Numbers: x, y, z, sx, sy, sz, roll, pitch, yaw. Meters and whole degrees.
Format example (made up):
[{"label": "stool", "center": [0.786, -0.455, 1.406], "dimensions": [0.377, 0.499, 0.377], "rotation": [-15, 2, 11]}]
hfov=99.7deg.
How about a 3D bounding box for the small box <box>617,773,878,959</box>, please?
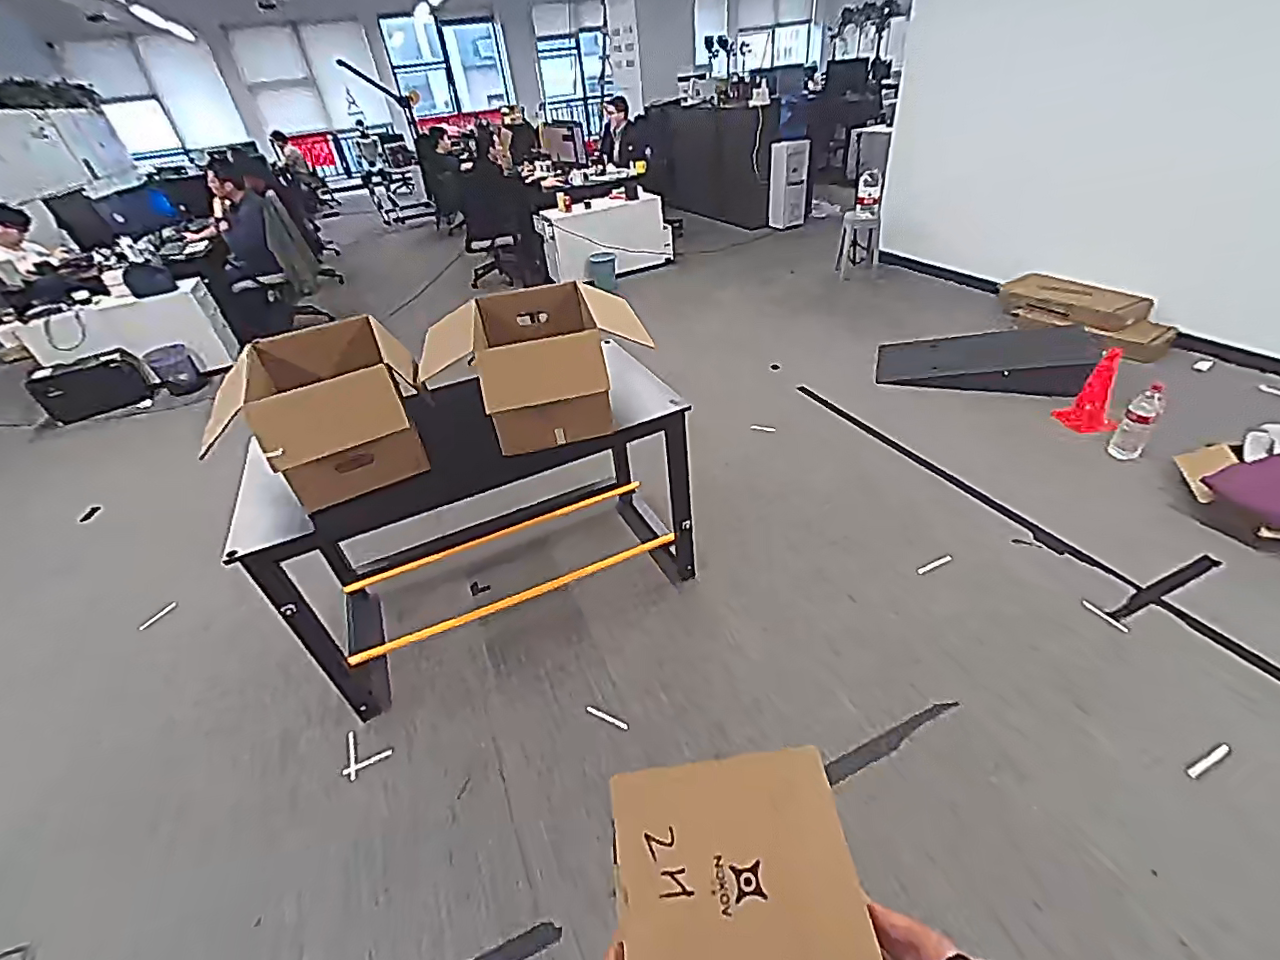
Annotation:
[{"label": "small box", "center": [0.080, 0.363, 0.454], "dimensions": [0.179, 0.176, 0.168], "rotation": [-8, 49, 0]}]
